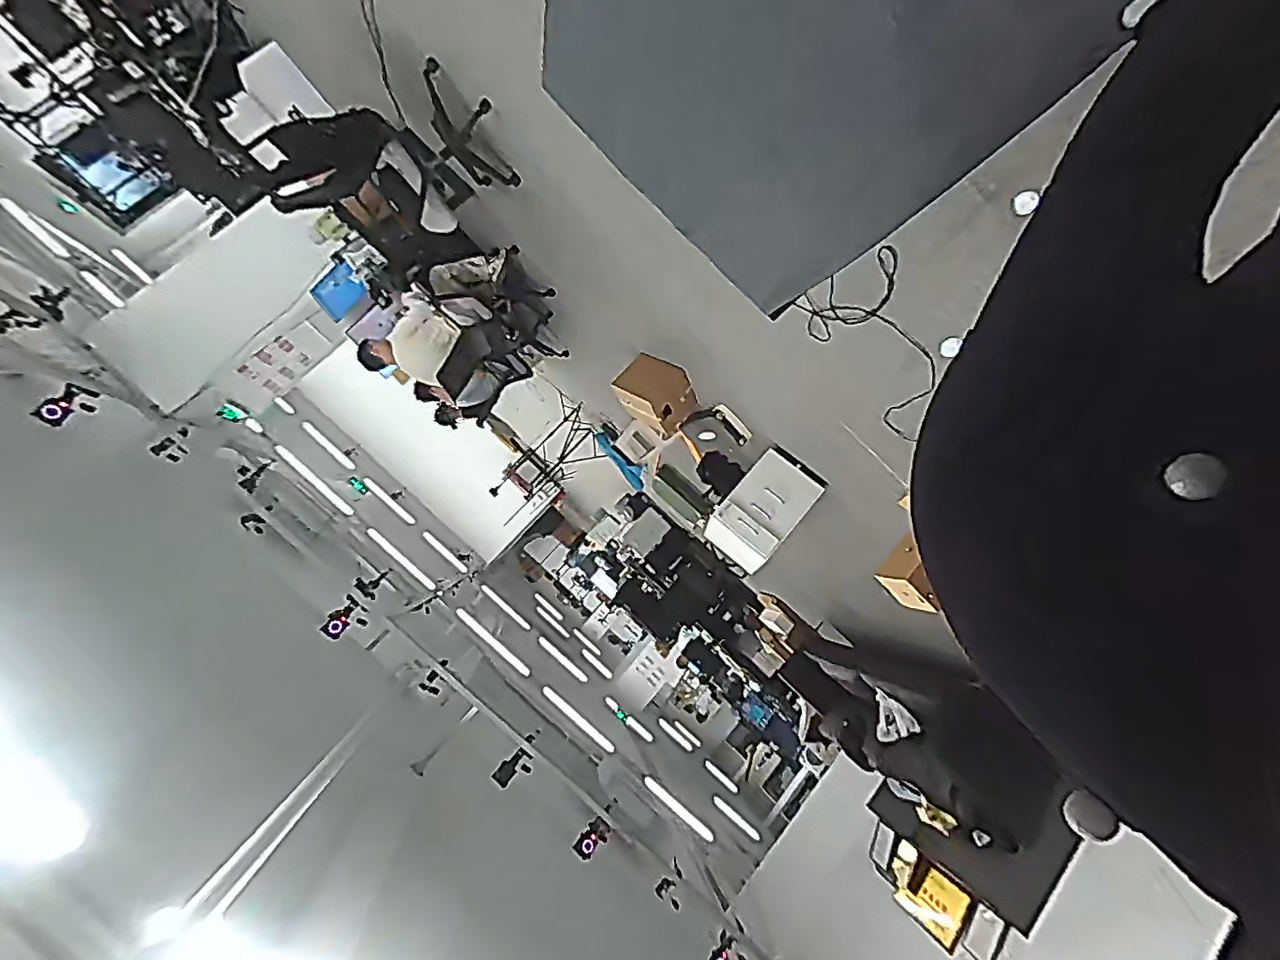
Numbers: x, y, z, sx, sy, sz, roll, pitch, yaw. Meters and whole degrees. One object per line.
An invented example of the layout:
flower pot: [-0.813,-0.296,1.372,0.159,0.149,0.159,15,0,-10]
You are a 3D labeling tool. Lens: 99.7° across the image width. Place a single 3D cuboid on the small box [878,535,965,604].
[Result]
small box: [0.993,0.308,1.909,0.168,0.176,0.179,43,170,-7]
